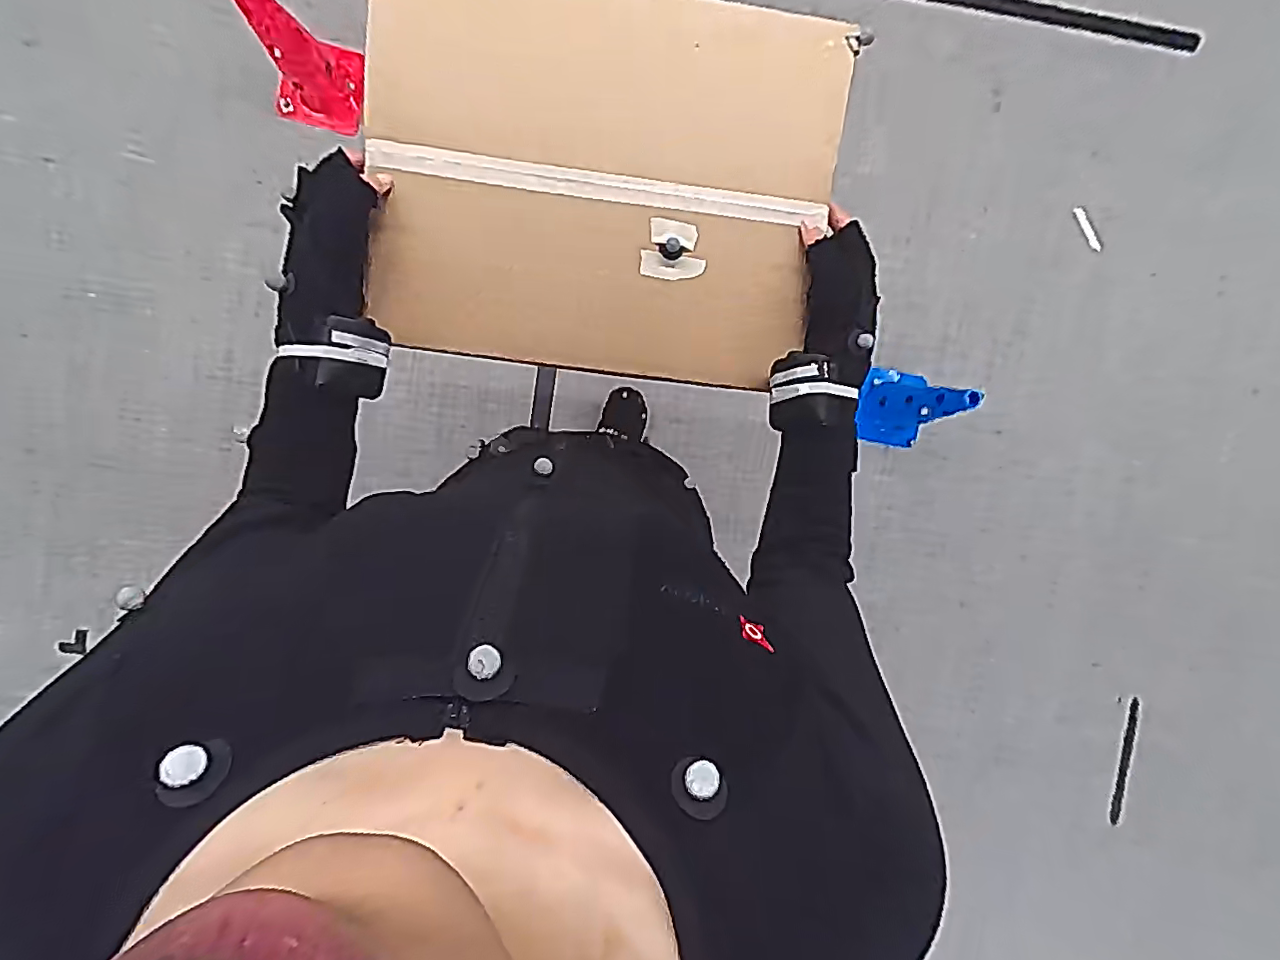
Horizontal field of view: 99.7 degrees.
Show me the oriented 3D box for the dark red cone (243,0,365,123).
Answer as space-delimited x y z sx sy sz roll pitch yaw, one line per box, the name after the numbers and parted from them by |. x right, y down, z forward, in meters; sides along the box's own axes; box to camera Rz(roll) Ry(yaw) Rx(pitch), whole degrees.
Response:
-0.768 -0.972 1.146 0.201 0.394 0.202 14 94 -5 | dark red cone

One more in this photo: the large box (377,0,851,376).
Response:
-0.038 -0.296 0.625 0.408 0.320 0.320 6 101 -5 | large box

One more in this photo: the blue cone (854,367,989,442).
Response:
0.698 -0.192 1.323 0.192 0.380 0.193 11 94 -5 | blue cone
